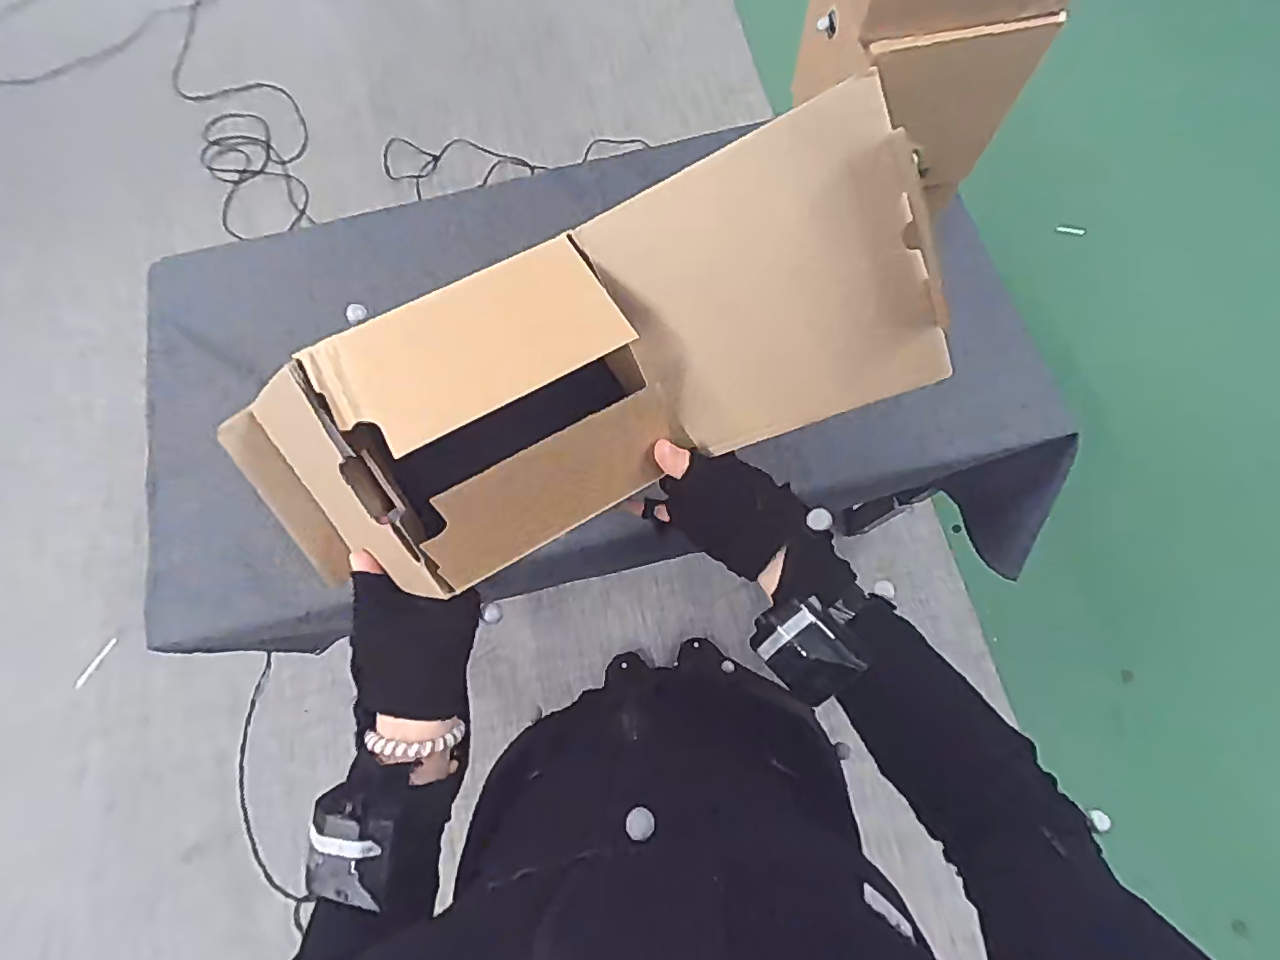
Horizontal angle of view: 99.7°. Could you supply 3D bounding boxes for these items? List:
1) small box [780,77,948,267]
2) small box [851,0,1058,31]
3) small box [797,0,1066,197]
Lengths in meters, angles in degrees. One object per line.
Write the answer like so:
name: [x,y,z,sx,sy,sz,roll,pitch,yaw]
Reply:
small box: [0.287,-0.403,0.714,0.179,0.176,0.168,-2,74,3]
small box: [0.254,-0.476,0.396,0.179,0.176,0.168,-5,75,3]
small box: [0.270,-0.430,0.552,0.168,0.176,0.179,-8,74,2]
